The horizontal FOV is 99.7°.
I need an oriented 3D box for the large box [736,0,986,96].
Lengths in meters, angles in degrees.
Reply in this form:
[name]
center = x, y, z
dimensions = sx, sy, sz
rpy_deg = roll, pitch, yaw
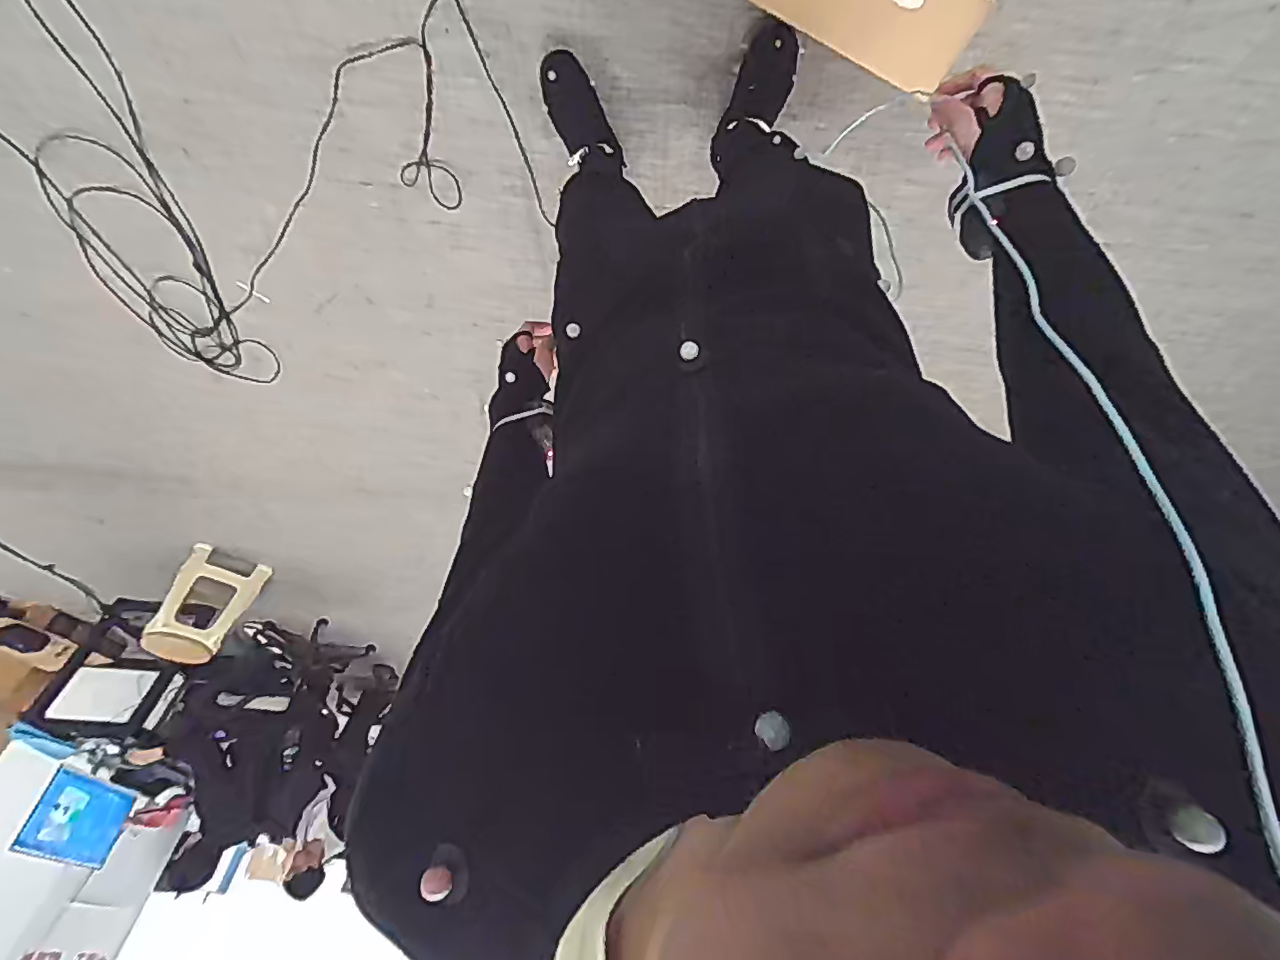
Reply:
[large box]
center = 0.376, -0.934, 0.910
dimensions = 0.408, 0.320, 0.320
rpy_deg = 17, 135, -14
